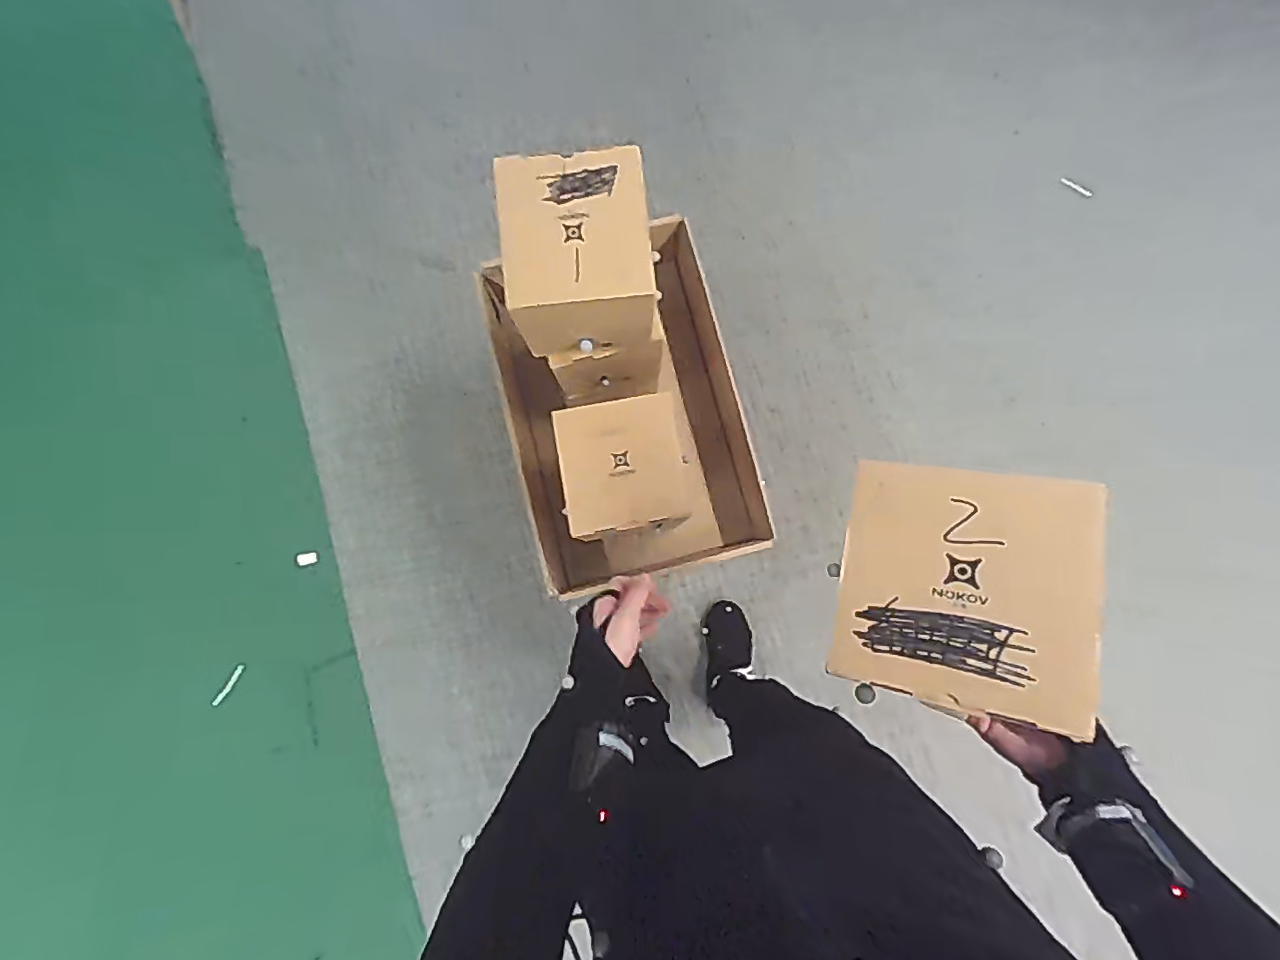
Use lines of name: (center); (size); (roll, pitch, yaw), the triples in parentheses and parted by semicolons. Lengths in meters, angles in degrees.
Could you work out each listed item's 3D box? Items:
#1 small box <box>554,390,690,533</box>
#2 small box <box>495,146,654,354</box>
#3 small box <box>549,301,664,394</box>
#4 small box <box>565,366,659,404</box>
small box: (-0.023, -0.017, 0.806); (0.168, 0.176, 0.179); (-10, 81, -1)
small box: (-0.075, -0.275, 0.677); (0.168, 0.176, 0.179); (-6, 85, 0)
small box: (-0.068, -0.254, 0.840); (0.168, 0.176, 0.179); (-16, 85, -2)
small box: (-0.066, -0.239, 1.001); (0.168, 0.176, 0.179); (-15, 84, -1)
